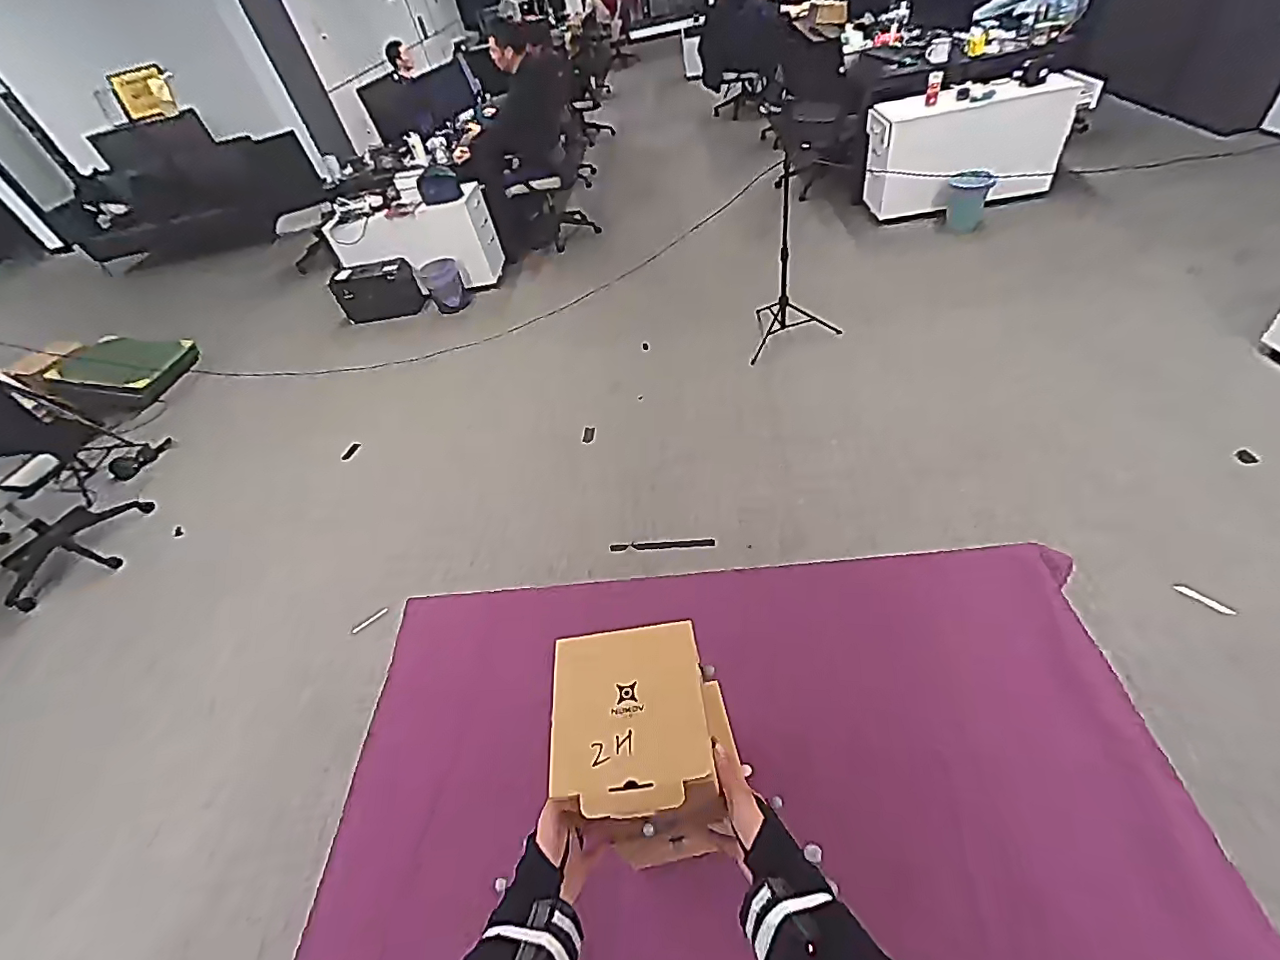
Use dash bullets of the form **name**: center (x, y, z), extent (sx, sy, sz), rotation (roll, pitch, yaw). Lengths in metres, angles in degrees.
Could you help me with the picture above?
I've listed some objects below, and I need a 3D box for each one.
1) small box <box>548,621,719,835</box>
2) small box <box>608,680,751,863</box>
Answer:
- **small box**: center (-0.002, 0.294, 0.640), extent (0.168, 0.176, 0.179), rotation (-9, 45, 4)
- **small box**: center (0.049, 0.409, 0.753), extent (0.179, 0.176, 0.168), rotation (-13, 45, 0)
